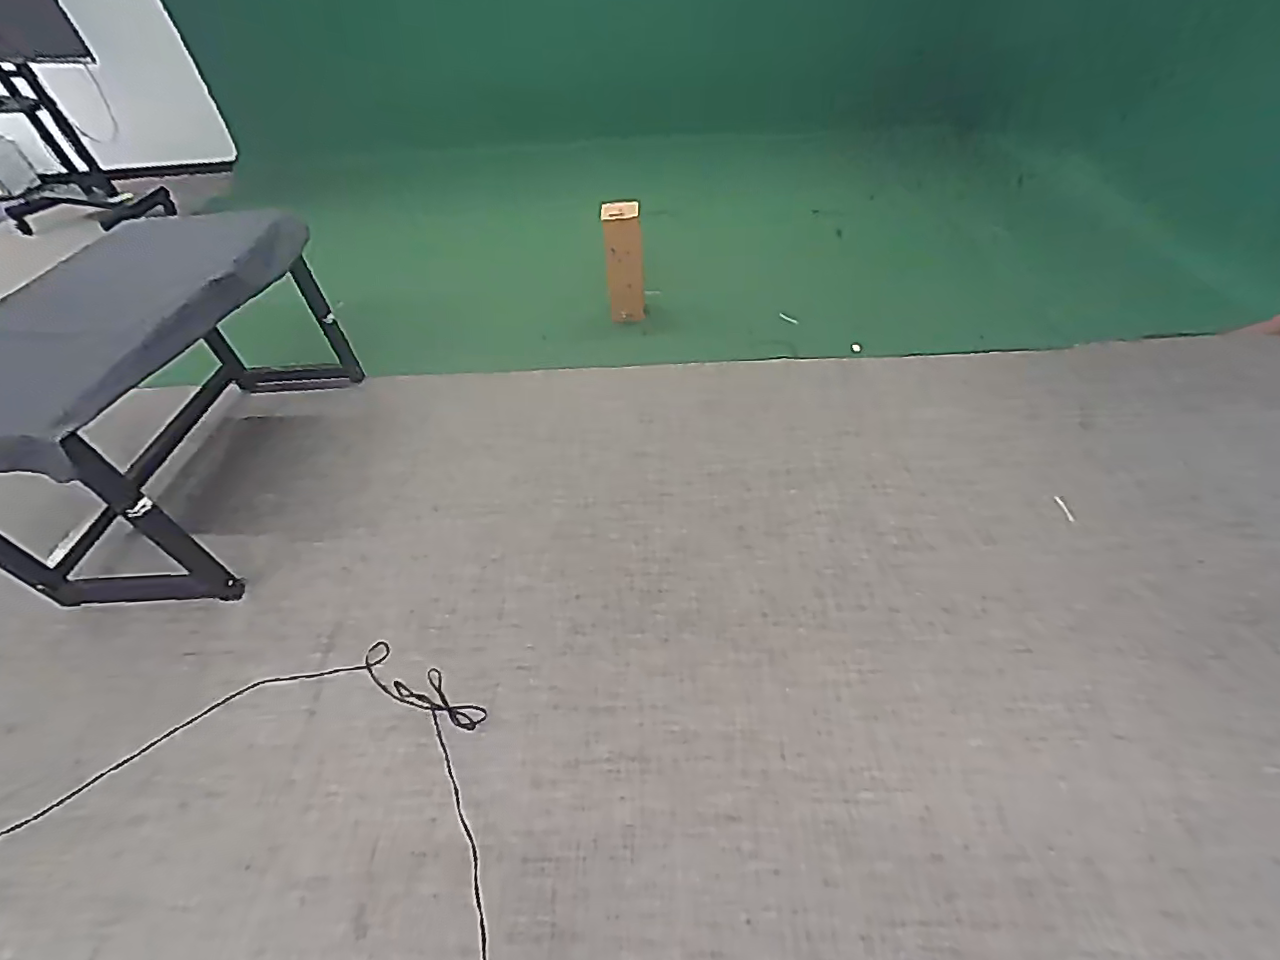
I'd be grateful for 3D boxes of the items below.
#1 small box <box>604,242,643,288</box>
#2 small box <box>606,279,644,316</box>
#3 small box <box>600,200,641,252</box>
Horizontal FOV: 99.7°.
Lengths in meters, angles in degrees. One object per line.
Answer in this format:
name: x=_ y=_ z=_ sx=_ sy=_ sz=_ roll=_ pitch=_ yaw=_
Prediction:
small box: x=-0.074 y=-1.032 z=2.567 sx=0.168 sy=0.176 sz=0.179 roll=-2 pitch=46 yaw=4
small box: x=-0.069 y=-0.933 z=2.672 sx=0.168 sy=0.176 sz=0.179 roll=-2 pitch=48 yaw=5
small box: x=-0.083 y=-1.145 z=2.447 sx=0.168 sy=0.176 sz=0.179 roll=-3 pitch=47 yaw=3
